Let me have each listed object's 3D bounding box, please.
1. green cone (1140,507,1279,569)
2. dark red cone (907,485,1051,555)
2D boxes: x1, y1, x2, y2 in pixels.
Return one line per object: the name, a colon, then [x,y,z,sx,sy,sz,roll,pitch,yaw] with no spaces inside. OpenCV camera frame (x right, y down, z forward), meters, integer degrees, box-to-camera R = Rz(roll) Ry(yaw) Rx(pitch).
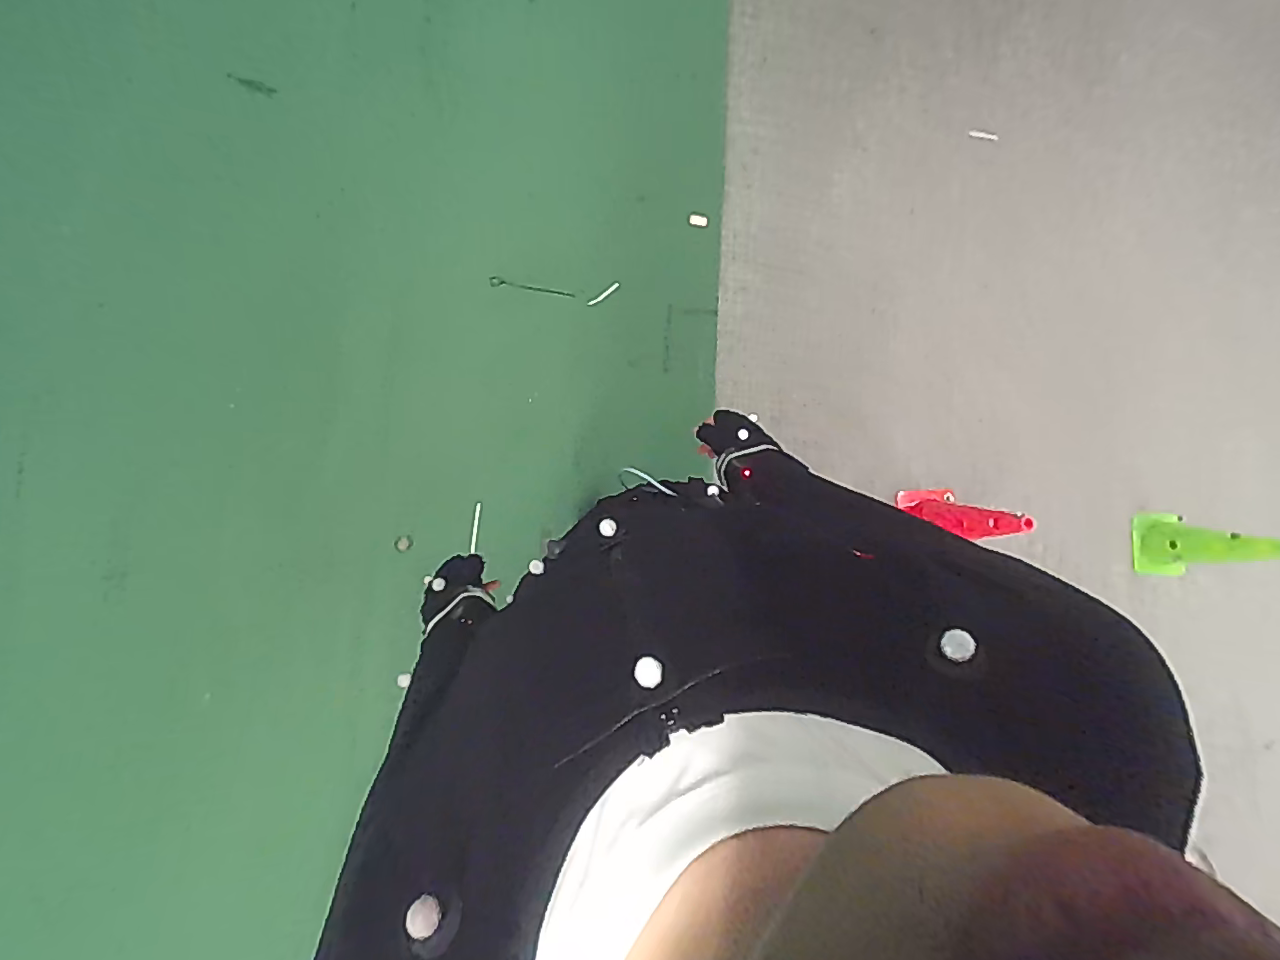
green cone: [1.740,0.182,1.589,0.200,0.368,0.202,1,87,-8]
dark red cone: [0.909,0.106,1.439,0.201,0.394,0.202,-3,87,-8]
